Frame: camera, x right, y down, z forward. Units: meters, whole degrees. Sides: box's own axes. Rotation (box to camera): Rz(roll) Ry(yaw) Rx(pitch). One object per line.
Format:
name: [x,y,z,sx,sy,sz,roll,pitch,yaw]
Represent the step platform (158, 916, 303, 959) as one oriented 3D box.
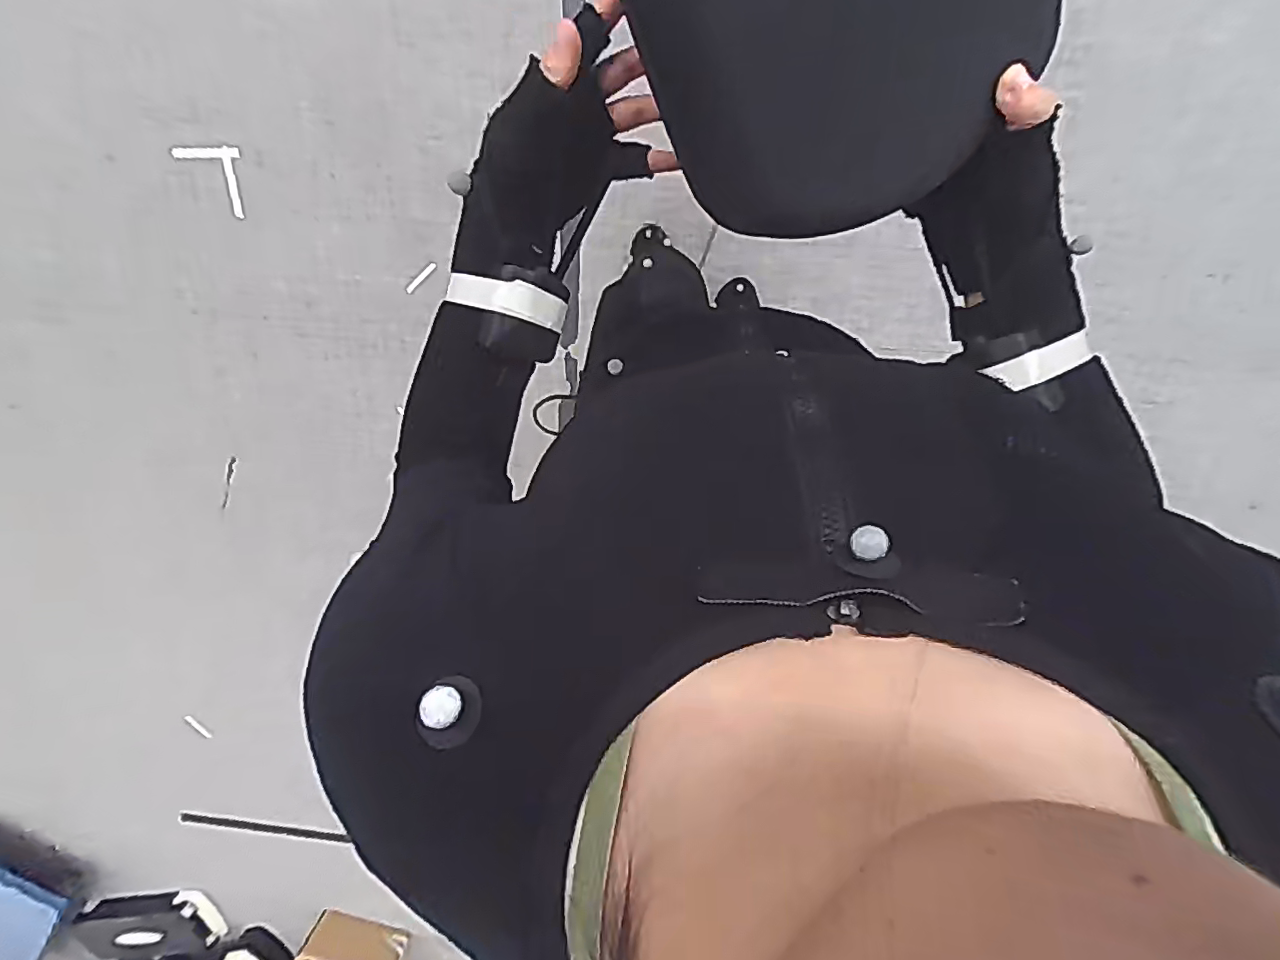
step platform: [-1.946,2.272,2.515,0.684,0.204,0.286,-24,107,13]
